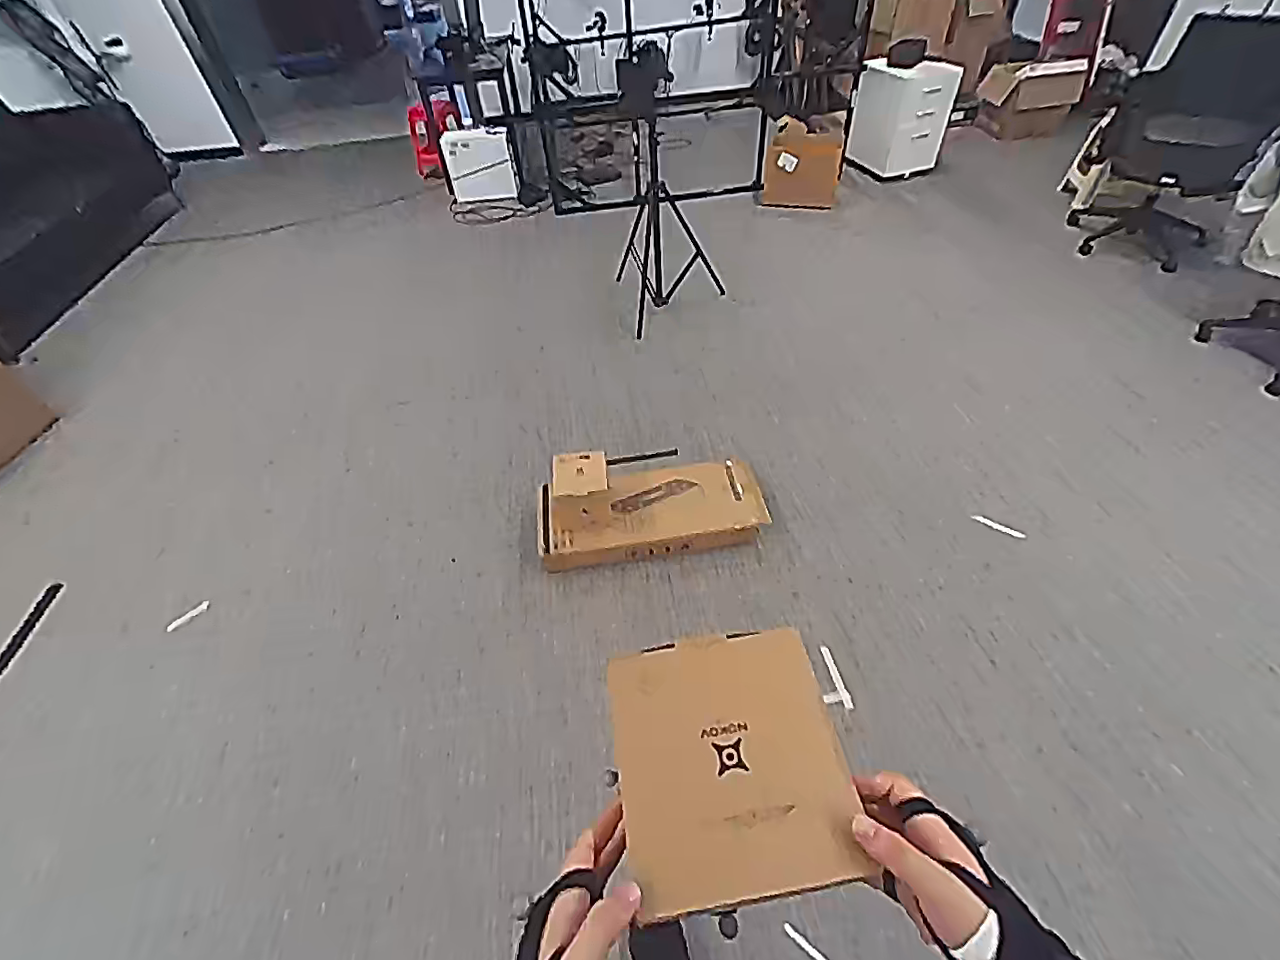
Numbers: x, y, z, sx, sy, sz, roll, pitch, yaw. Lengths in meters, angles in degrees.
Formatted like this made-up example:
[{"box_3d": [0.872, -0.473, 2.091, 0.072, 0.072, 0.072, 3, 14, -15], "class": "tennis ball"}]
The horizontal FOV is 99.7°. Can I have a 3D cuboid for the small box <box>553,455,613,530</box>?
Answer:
[{"box_3d": [-0.180, 0.045, 1.717, 0.168, 0.176, 0.179, -6, 47, -2], "class": "small box"}]
